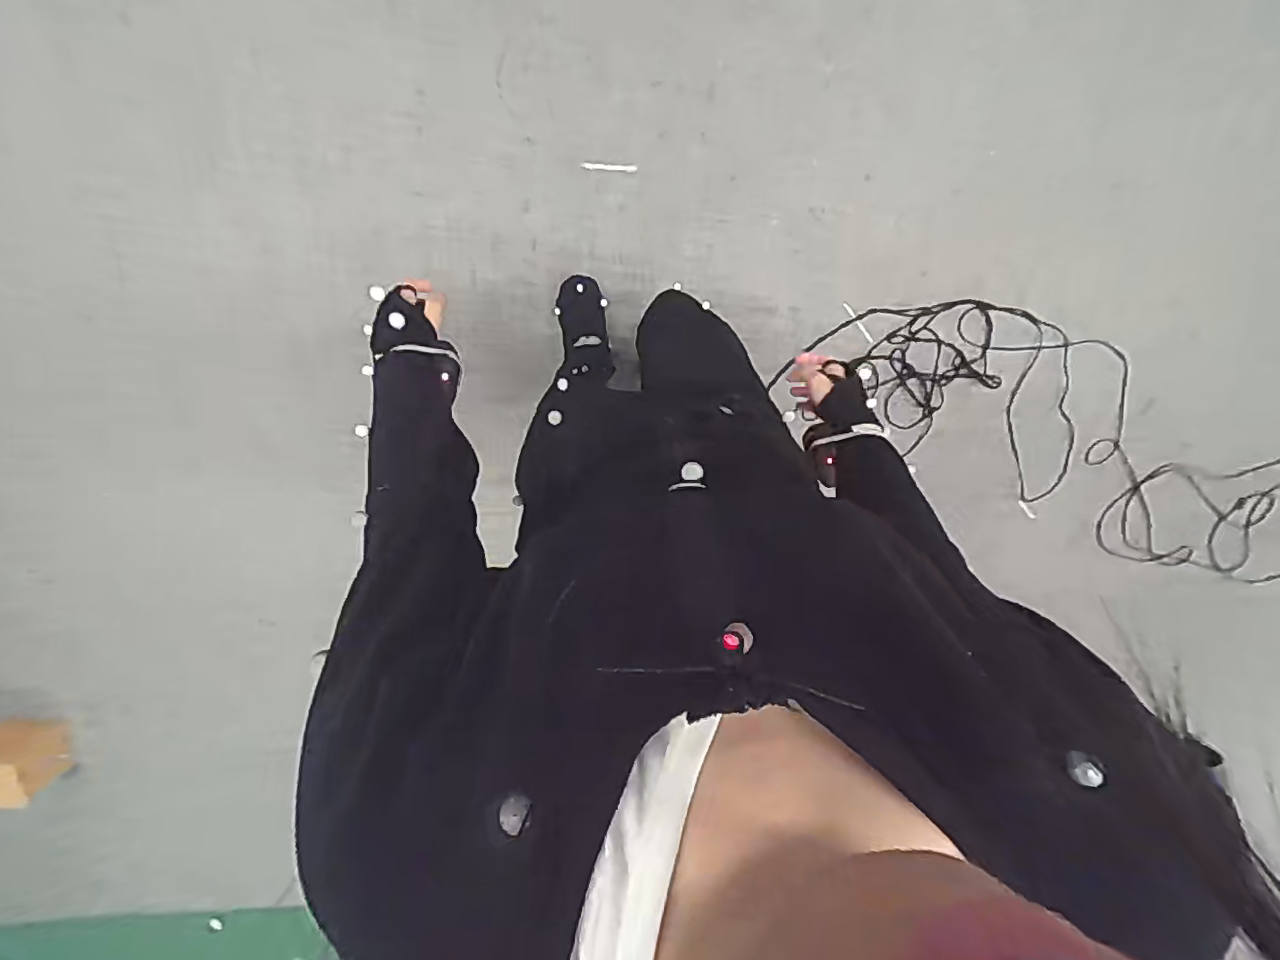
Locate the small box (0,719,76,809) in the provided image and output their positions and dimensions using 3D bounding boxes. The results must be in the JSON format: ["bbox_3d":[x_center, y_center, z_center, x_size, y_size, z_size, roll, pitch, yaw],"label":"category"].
[{"bbox_3d":[-1.805,0.812,1.555,0.179,0.176,0.168,4,112,-10],"label":"small box"}]
